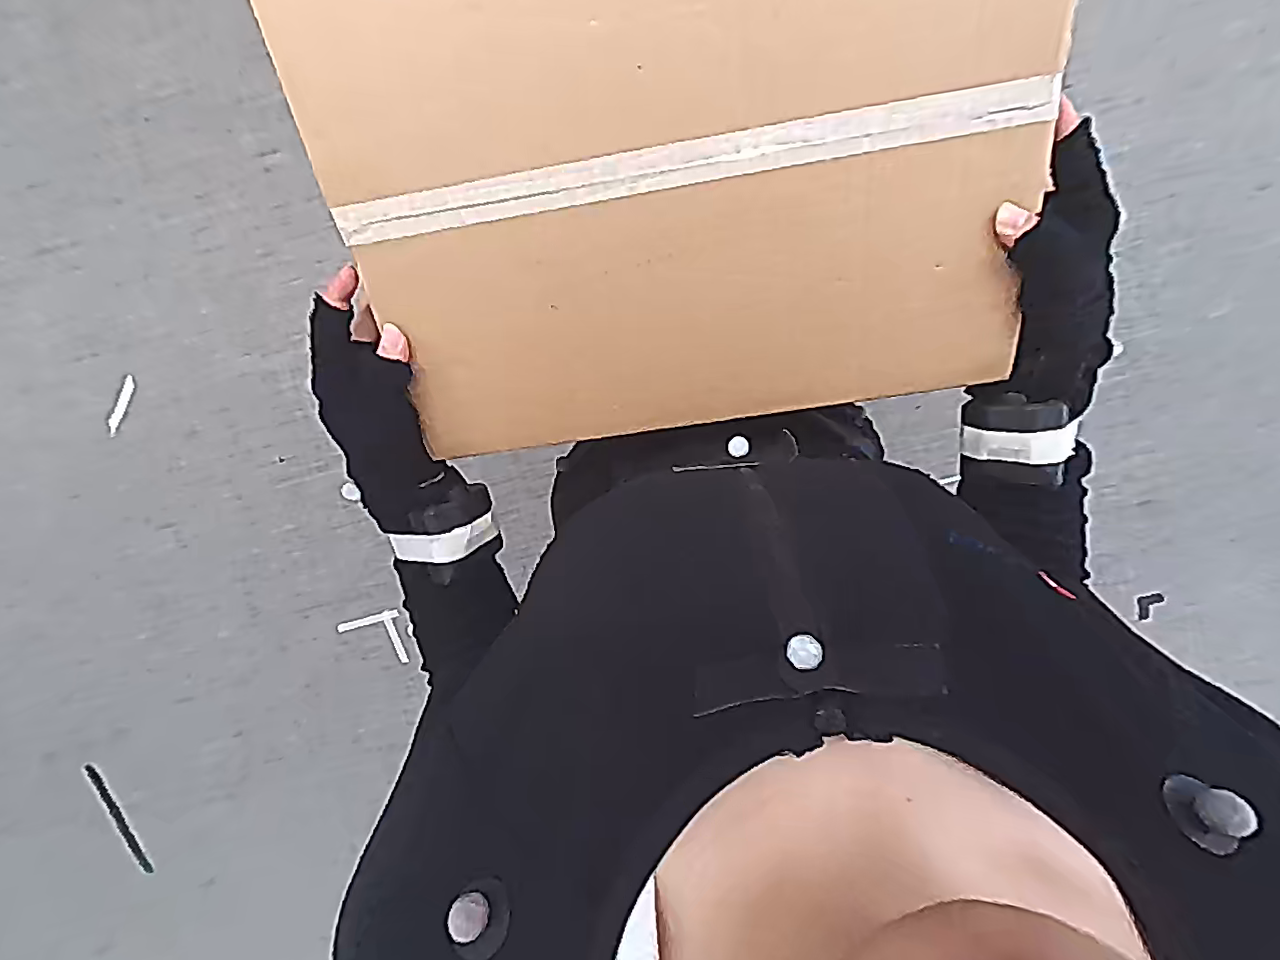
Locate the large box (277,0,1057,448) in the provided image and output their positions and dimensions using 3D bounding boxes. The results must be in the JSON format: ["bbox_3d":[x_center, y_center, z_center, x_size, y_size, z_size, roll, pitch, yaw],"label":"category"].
[{"bbox_3d":[0.023,-0.253,0.446,0.408,0.320,0.320,-8,119,4],"label":"large box"}]
